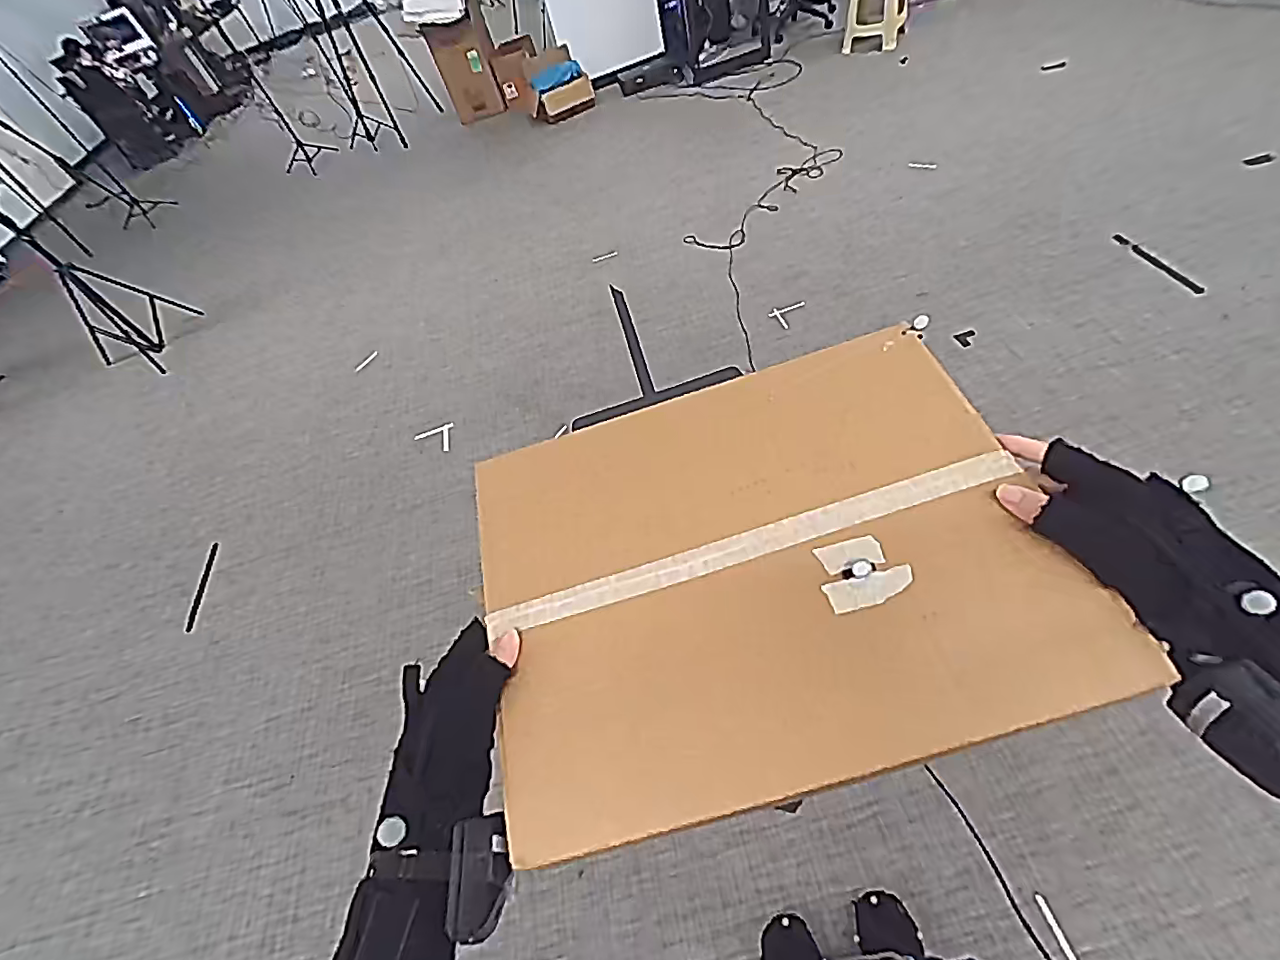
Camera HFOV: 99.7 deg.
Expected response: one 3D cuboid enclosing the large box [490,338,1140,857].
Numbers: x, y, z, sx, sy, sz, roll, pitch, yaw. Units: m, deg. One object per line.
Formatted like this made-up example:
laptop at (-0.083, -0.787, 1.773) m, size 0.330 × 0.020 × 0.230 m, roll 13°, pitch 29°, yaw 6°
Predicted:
large box at (0.112, 0.130, 0.539) m, size 0.408 × 0.320 × 0.320 m, roll -18°, pitch 58°, yaw 2°
